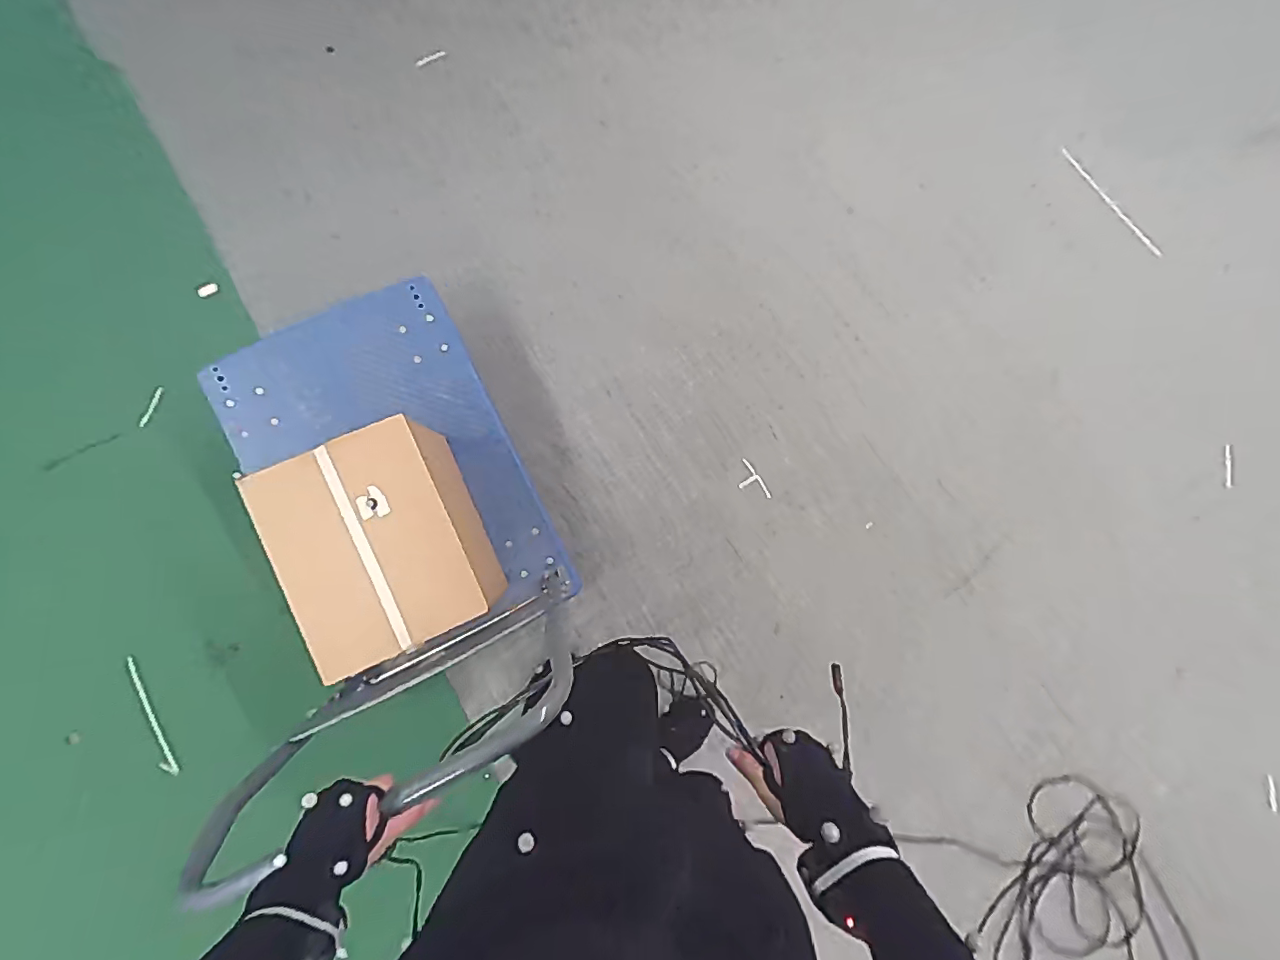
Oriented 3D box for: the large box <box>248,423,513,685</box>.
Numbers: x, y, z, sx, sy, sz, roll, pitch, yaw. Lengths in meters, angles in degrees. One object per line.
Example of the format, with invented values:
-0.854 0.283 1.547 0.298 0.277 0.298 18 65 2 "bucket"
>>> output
-0.507 0.144 1.141 0.320 0.320 0.408 -24 88 -8 "large box"
